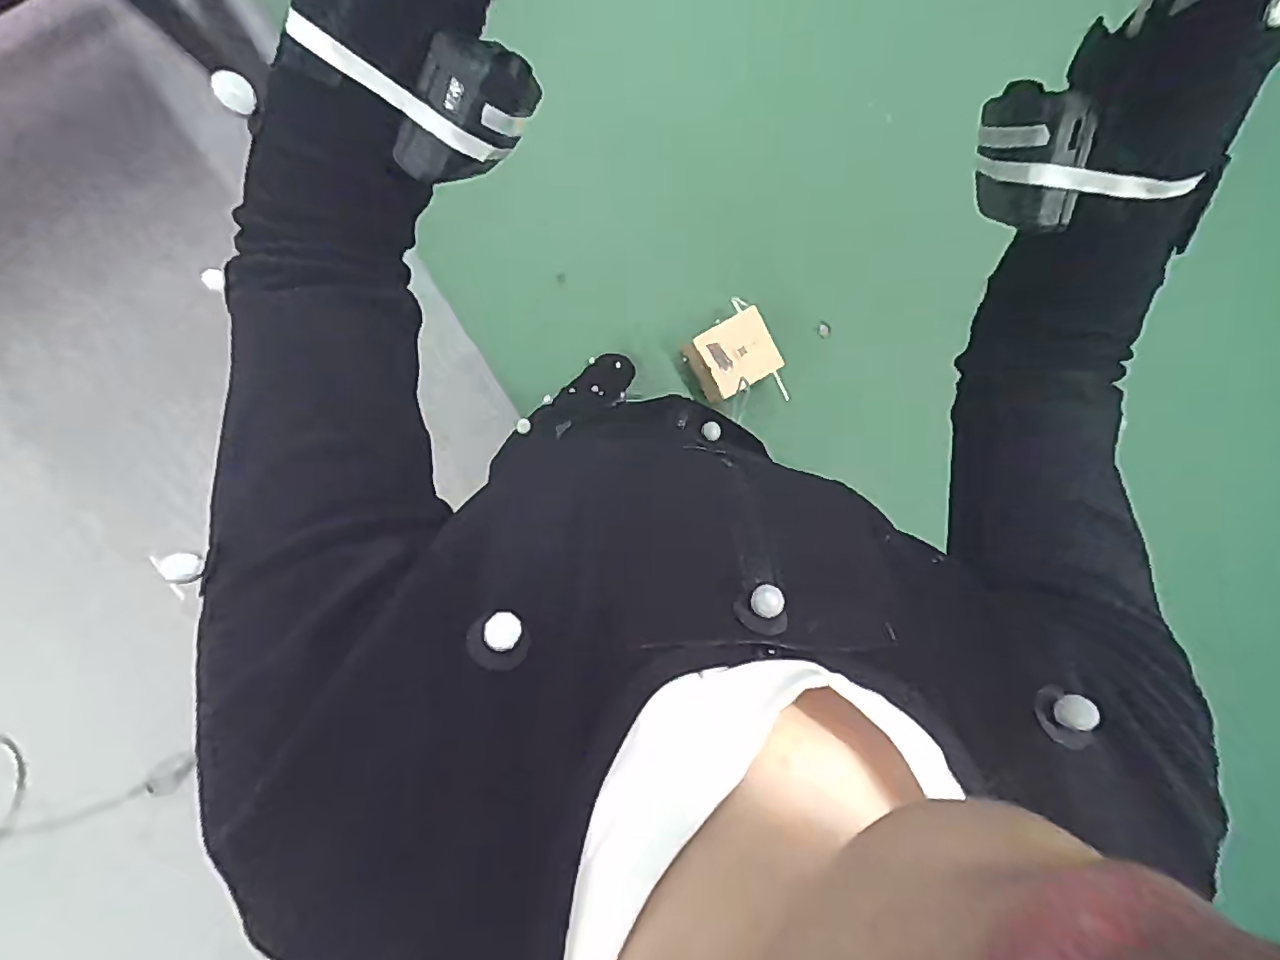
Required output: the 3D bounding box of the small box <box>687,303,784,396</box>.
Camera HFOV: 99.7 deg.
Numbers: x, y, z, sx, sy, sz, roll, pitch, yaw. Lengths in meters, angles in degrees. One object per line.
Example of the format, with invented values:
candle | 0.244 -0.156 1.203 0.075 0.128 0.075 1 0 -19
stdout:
small box | 0.234 -0.324 1.382 0.179 0.176 0.168 -29 99 -2
